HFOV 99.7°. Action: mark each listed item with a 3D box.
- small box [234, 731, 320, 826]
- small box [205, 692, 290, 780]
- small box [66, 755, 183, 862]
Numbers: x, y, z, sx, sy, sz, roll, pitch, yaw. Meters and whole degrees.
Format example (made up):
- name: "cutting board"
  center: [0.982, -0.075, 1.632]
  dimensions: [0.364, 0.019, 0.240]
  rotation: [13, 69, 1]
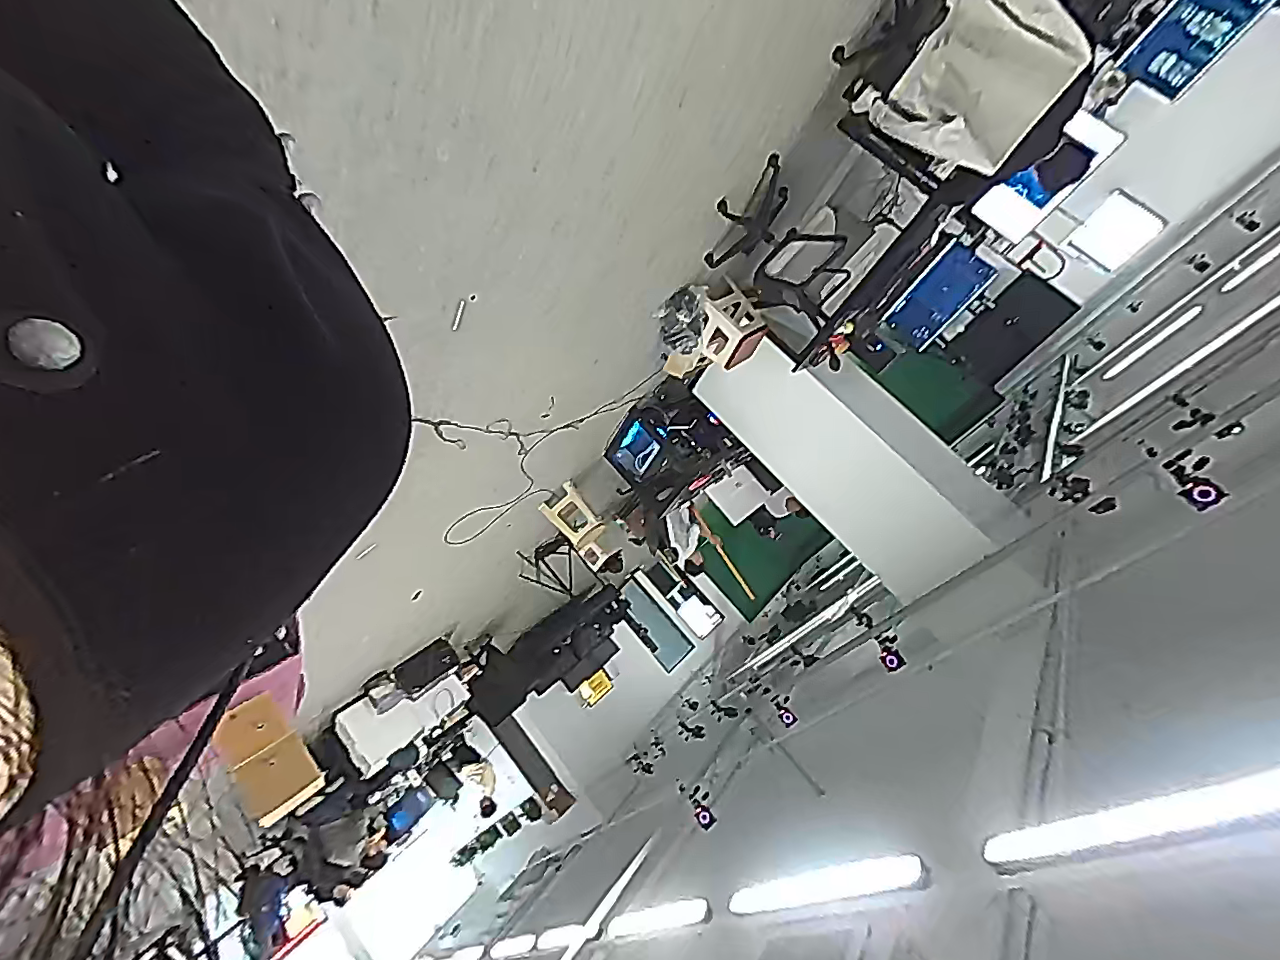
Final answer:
- name: "small box"
  center: [-1.116, 0.915, 1.663]
  dimensions: [0.179, 0.176, 0.168]
  rotation: [-29, 162, -42]
- name: "small box"
  center: [-1.224, 0.795, 1.692]
  dimensions: [0.168, 0.176, 0.179]
  rotation: [-29, 162, -44]
- name: "small box"
  center: [-1.404, 0.893, 1.480]
  dimensions: [0.179, 0.176, 0.168]
  rotation: [-28, 160, -45]
